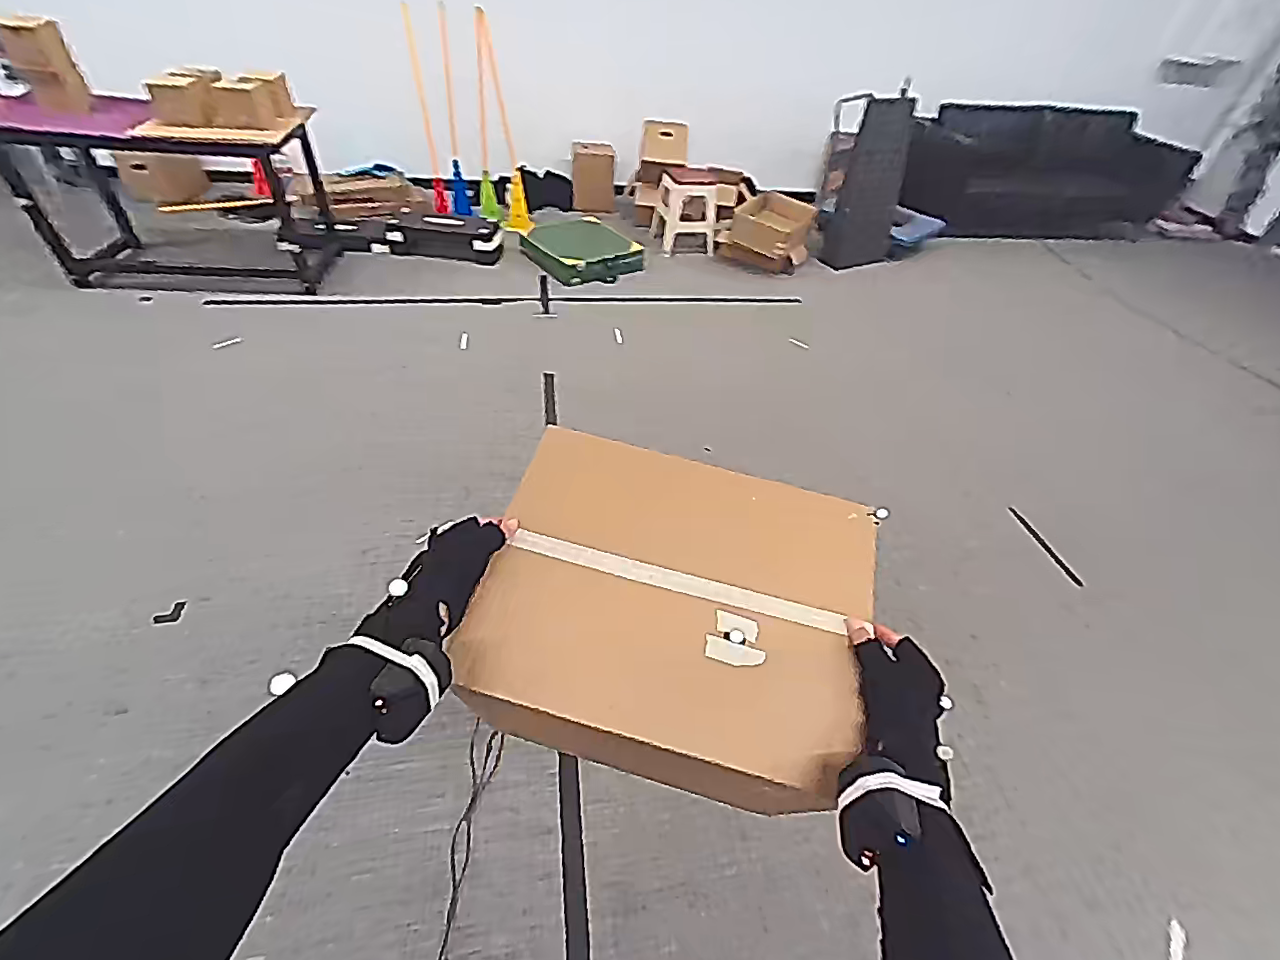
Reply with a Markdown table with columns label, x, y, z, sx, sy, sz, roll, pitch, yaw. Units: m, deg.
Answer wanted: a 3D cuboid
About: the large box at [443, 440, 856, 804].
| label | x | y | z | sx | sy | sz | roll | pitch | yaw |
| --- | --- | --- | --- | --- | --- | --- | --- | --- | --- |
| large box | 0.021 | 0.196 | 0.708 | 0.408 | 0.320 | 0.320 | 14 | 58 | 4 |
